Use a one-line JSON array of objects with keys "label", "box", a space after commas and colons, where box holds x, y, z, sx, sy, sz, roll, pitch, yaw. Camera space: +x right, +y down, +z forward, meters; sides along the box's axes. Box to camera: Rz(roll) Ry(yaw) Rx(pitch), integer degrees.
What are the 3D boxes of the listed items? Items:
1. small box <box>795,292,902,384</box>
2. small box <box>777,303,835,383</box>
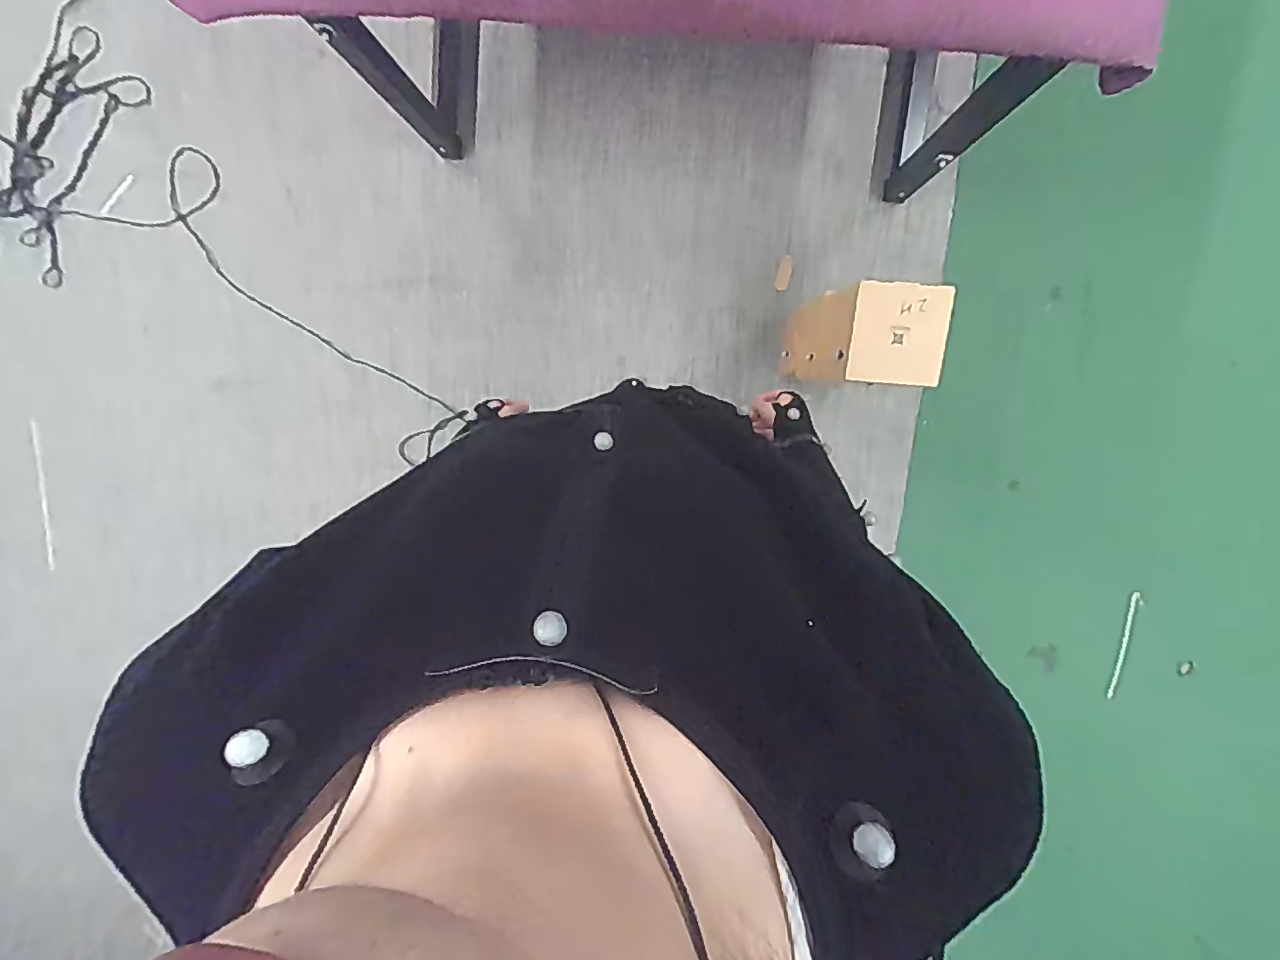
[{"label": "small box", "box": [0.448, -0.306, 1.192, 0.168, 0.176, 0.179, 5, 101, 2]}, {"label": "small box", "box": [0.451, -0.335, 1.351, 0.179, 0.176, 0.168, 7, 100, 1]}]
